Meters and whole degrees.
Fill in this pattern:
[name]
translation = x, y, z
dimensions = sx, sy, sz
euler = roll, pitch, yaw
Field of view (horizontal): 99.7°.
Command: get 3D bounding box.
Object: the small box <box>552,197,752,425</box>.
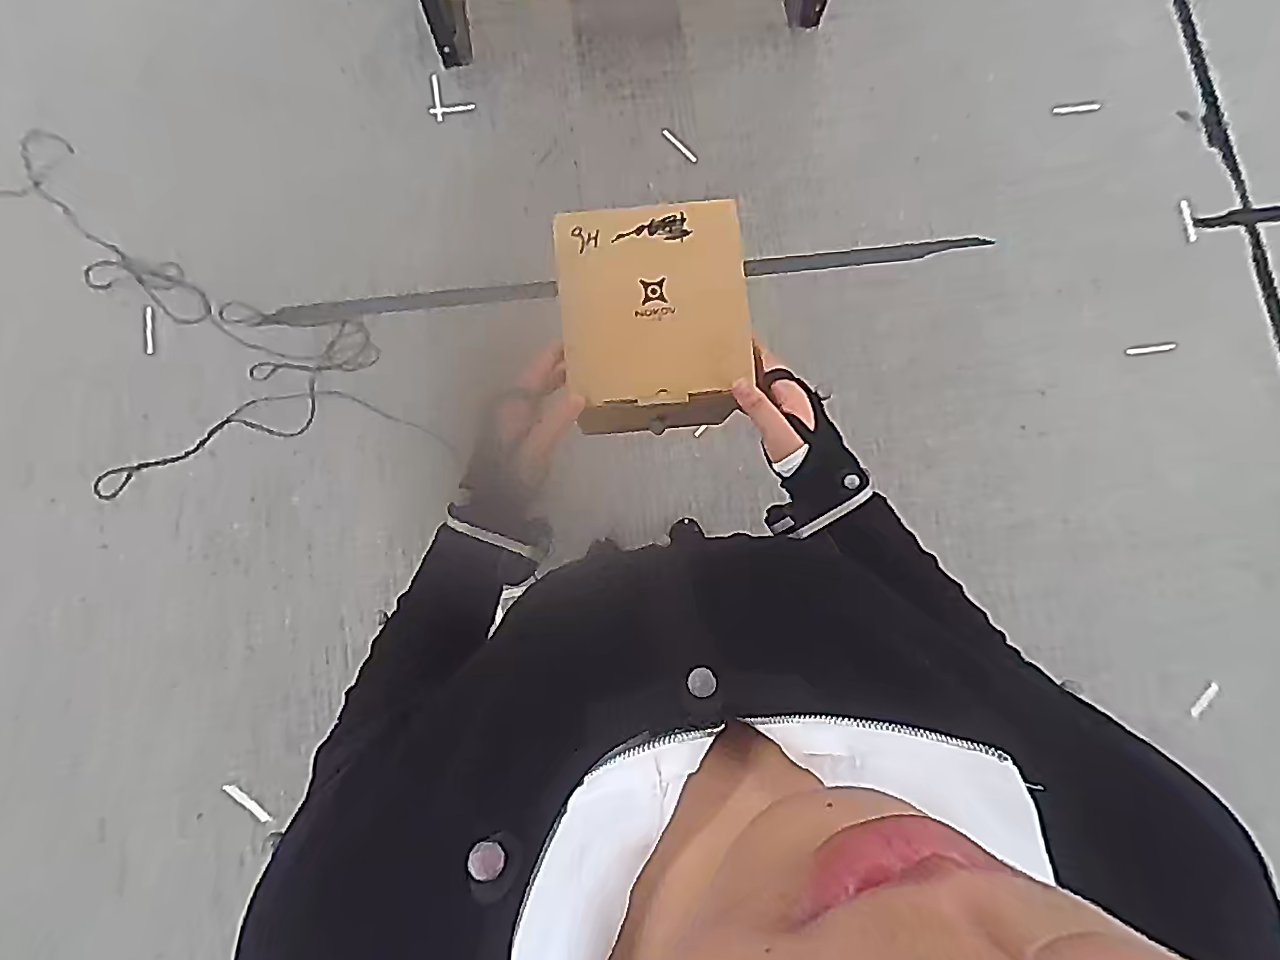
[small box]
translation = 0.011, -0.154, 0.555
dimensions = 0.168, 0.176, 0.179
euler = -6, 87, -1
